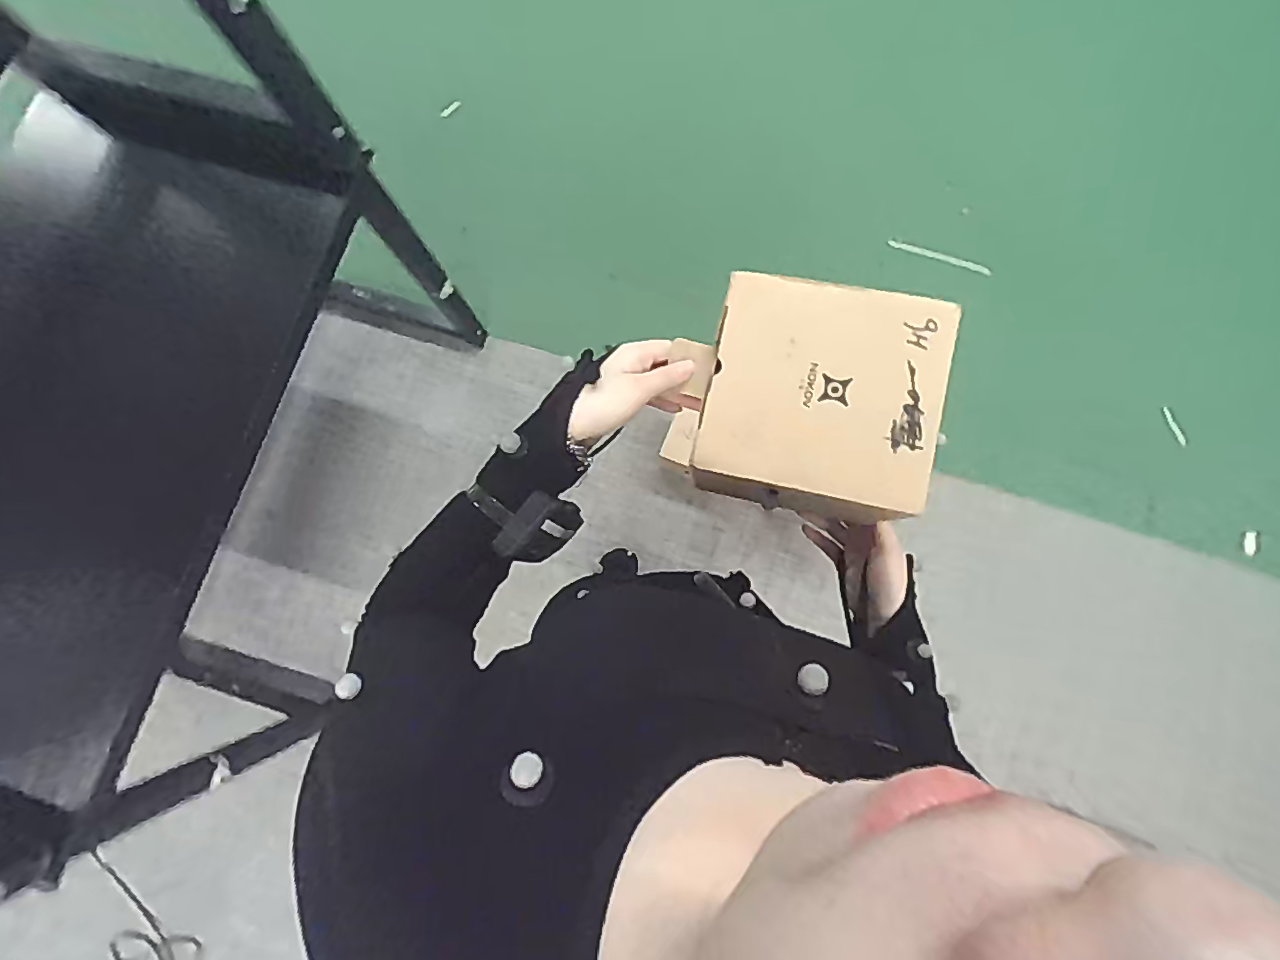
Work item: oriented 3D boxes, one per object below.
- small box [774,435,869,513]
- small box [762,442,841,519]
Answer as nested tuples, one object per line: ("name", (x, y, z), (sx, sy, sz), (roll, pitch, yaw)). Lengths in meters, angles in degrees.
("small box", (0.421, -0.009, 1.287), (0.179, 0.176, 0.168), (-2, 83, 1))
("small box", (0.436, 0.007, 1.449), (0.179, 0.176, 0.168), (11, 82, 2))
